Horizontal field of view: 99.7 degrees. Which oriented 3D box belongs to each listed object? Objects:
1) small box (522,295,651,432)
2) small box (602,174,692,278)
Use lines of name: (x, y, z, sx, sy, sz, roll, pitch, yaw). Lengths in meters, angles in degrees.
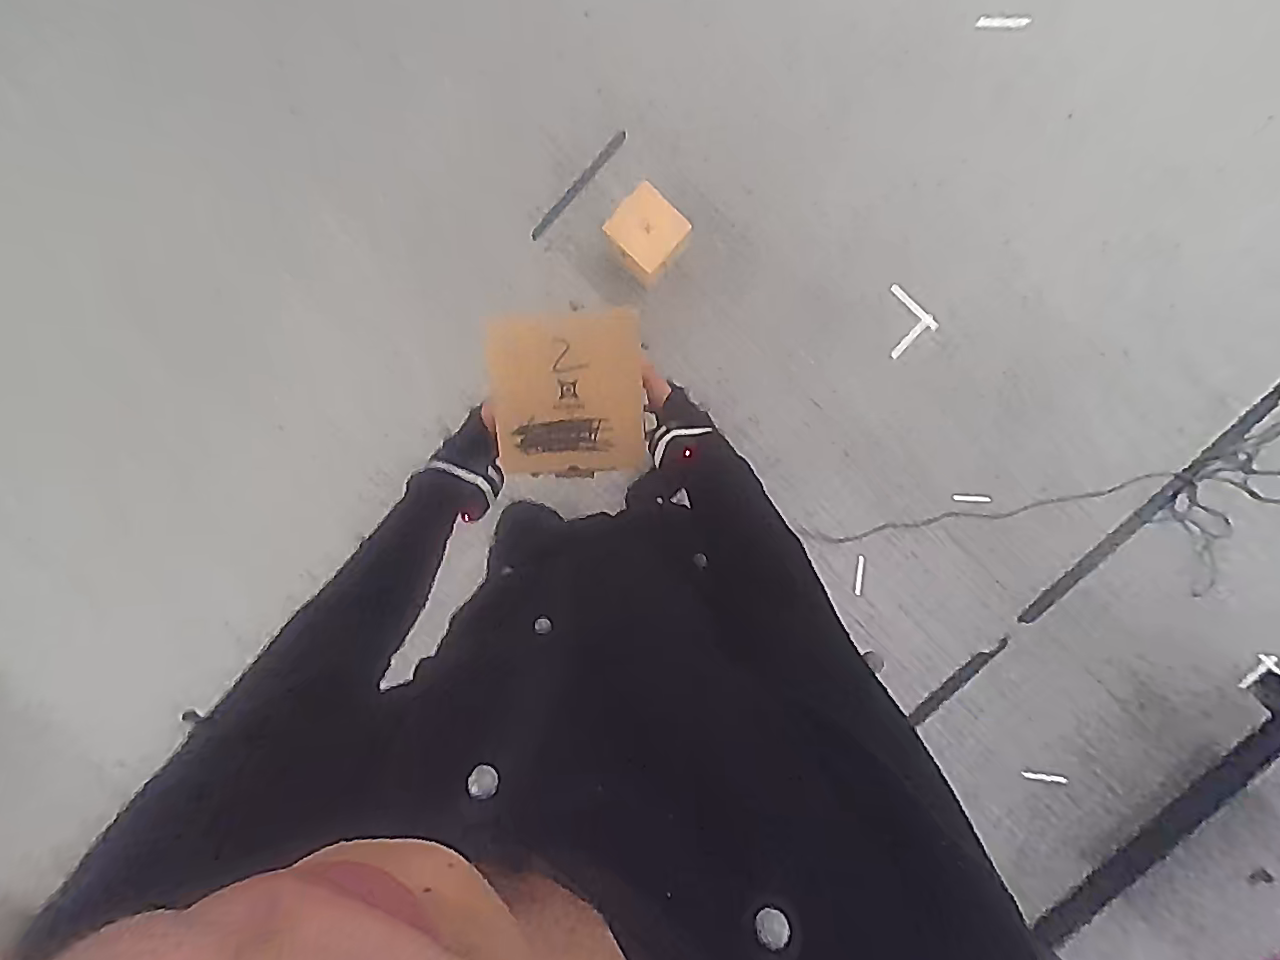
small box: (-0.075, -0.180, 0.816, 0.168, 0.176, 0.179, -5, 110, 0)
small box: (0.020, -0.673, 1.462, 0.179, 0.176, 0.168, 43, 95, -3)
